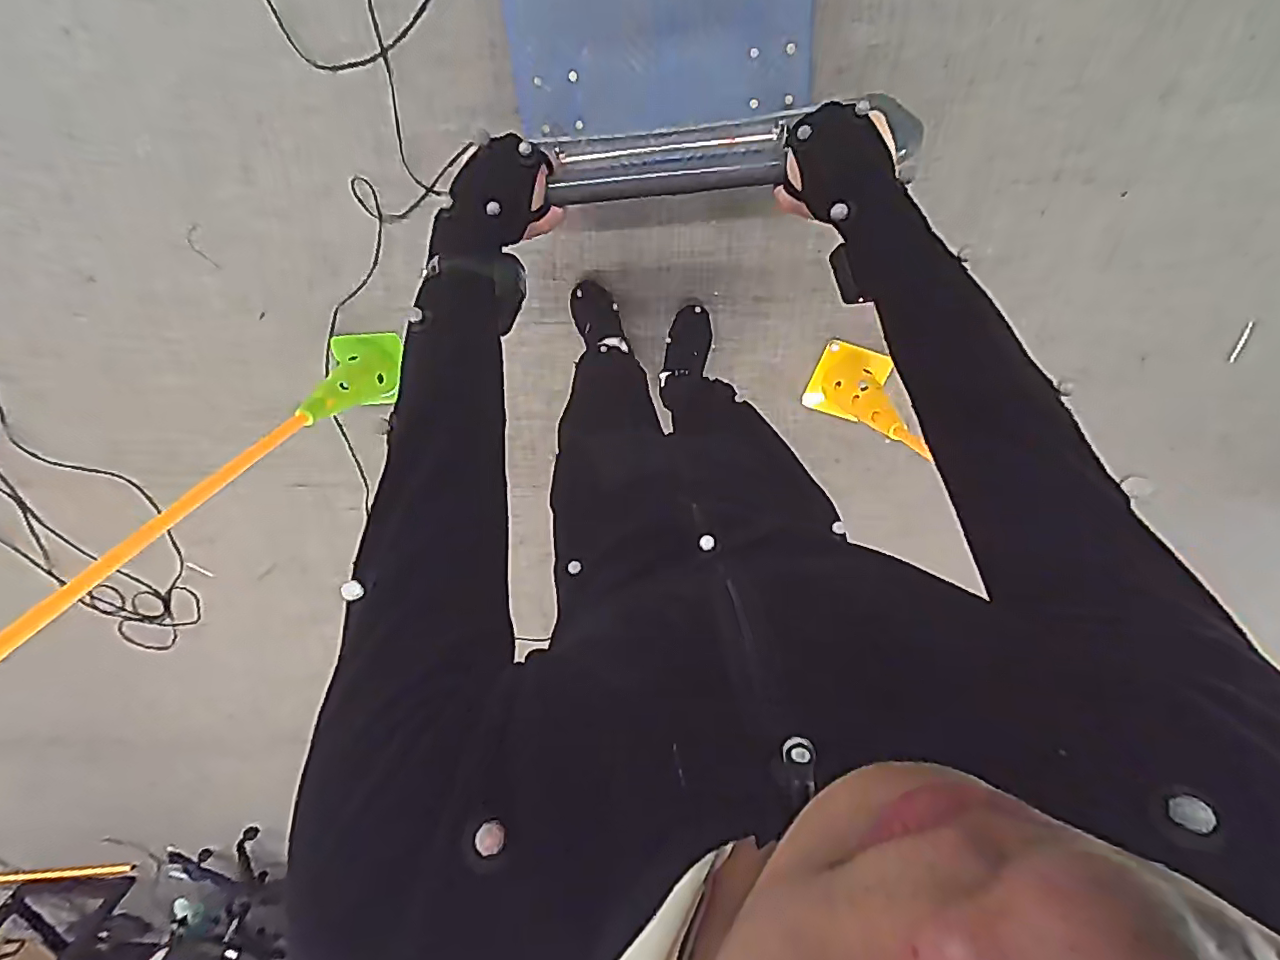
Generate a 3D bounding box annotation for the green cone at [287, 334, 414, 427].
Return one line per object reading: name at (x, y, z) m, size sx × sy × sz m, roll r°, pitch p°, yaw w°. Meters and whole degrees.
green cone at (-0.756, -0.225, 1.361) m, size 0.202 × 0.368 × 0.200 m, roll -2°, pitch 118°, yaw 5°
